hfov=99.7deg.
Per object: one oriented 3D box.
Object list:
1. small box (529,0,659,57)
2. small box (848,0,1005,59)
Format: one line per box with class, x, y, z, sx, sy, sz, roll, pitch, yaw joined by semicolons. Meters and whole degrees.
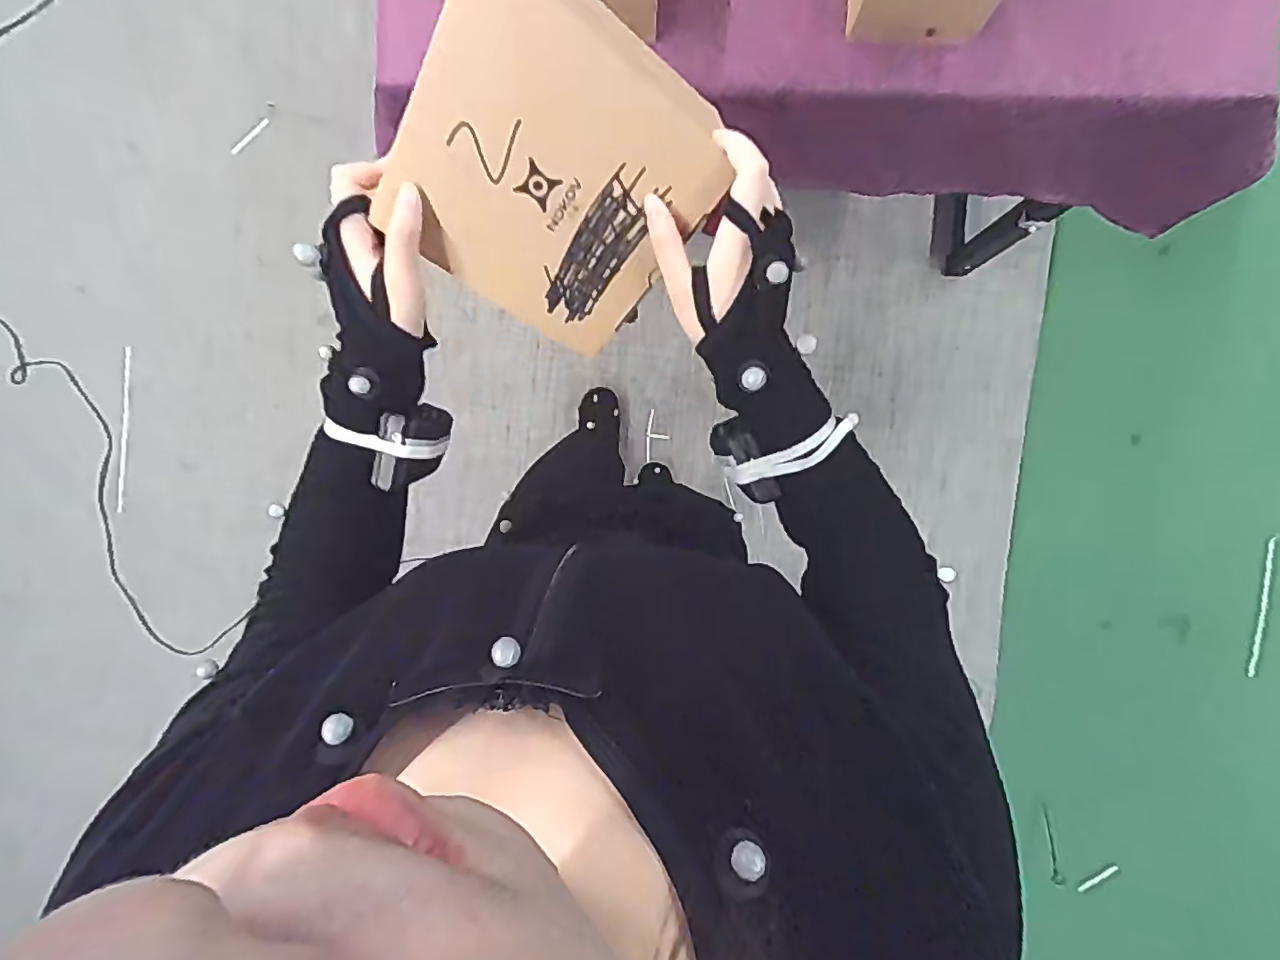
small box;-0.058;-0.681;0.672;0.168;0.176;0.179;4;93;3
small box;0.361;-0.659;0.649;0.168;0.176;0.179;4;91;4
